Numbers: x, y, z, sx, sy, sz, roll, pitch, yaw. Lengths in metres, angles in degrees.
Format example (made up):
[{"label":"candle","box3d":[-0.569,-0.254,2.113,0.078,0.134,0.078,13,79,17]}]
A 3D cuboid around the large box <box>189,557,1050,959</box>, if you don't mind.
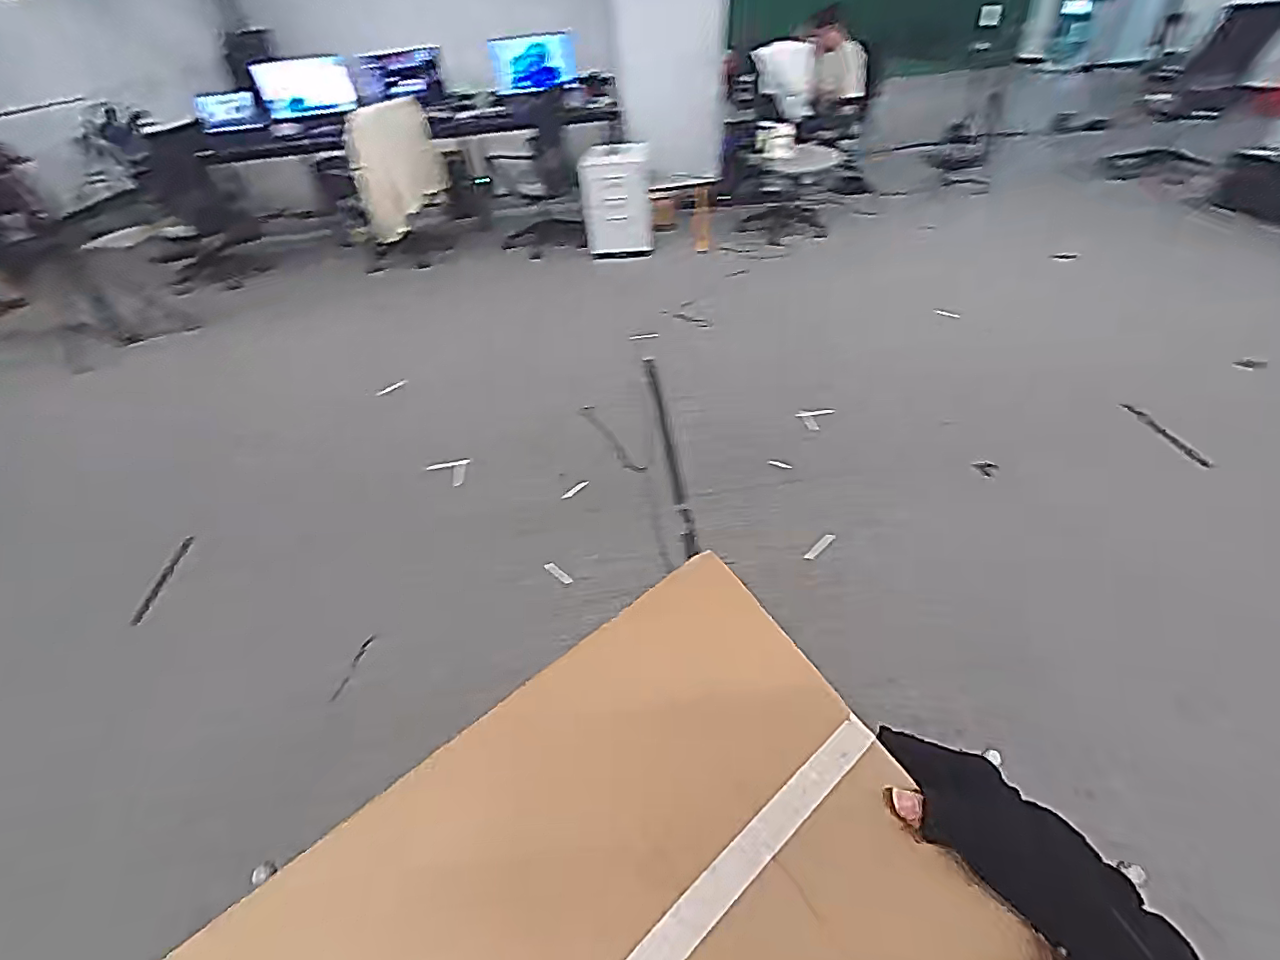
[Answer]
[{"label":"large box","box3d":[-0.019,0.337,0.419,0.408,0.320,0.320,-32,72,-23]}]
